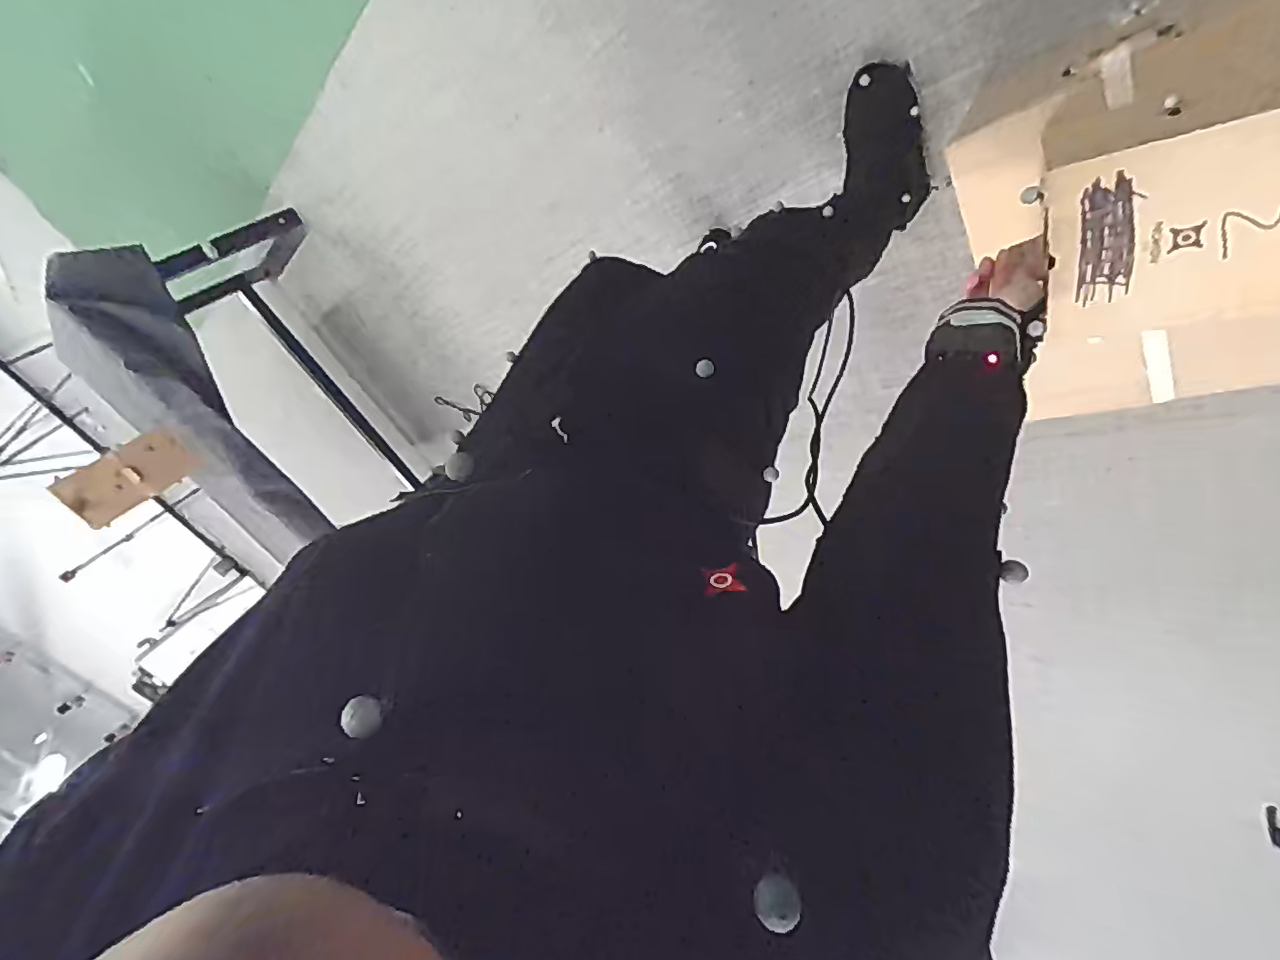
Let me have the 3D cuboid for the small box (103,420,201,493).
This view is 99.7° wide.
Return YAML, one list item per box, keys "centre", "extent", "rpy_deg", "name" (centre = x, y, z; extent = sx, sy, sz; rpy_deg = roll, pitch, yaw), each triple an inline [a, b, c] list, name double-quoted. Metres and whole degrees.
- centre: [-1.541, -0.075, 1.710]
  extent: [0.179, 0.176, 0.168]
  rpy_deg: [-3, 127, 44]
  name: "small box"

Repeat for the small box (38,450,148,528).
- centre: [-1.637, 0.025, 1.623]
  extent: [0.179, 0.176, 0.168]
  rpy_deg: [-4, 126, 41]
  name: "small box"

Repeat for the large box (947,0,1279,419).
- centre: [0.638, -0.350, 0.693]
  extent: [0.320, 0.320, 0.408]
  rpy_deg: [-7, 126, 45]
  name: "large box"
